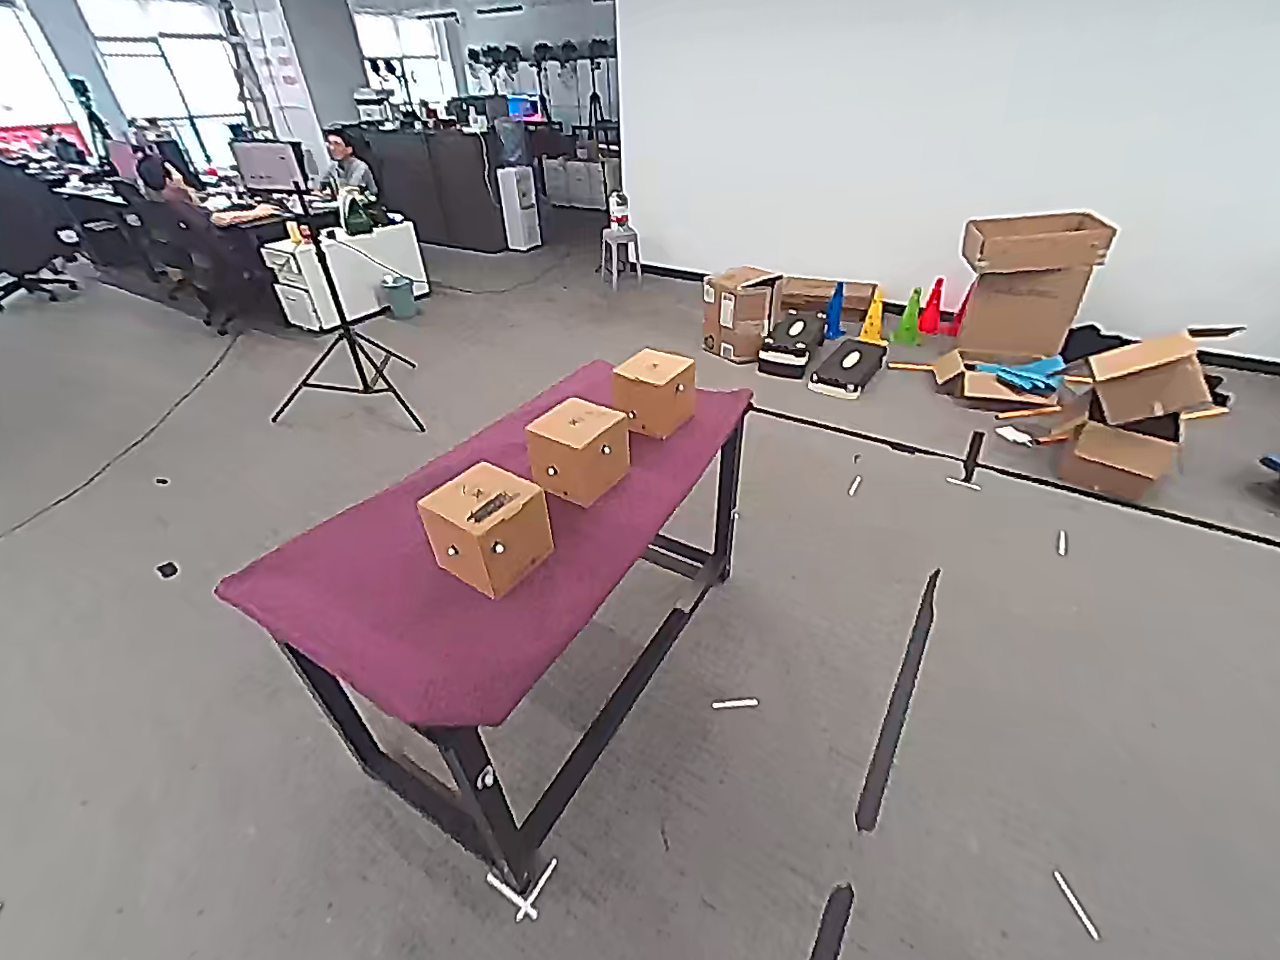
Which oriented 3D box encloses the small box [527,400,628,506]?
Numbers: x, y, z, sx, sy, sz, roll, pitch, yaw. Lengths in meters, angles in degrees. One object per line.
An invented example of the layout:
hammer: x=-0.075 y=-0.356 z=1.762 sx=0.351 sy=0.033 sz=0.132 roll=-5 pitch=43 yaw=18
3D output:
small box: x=-0.138 y=-0.064 z=1.280 sx=0.168 sy=0.176 sz=0.179 roll=21 pitch=42 yaw=28

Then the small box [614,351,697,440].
small box: x=0.045 y=-0.236 z=1.504 sx=0.168 sy=0.176 sz=0.179 roll=20 pitch=43 yaw=29
